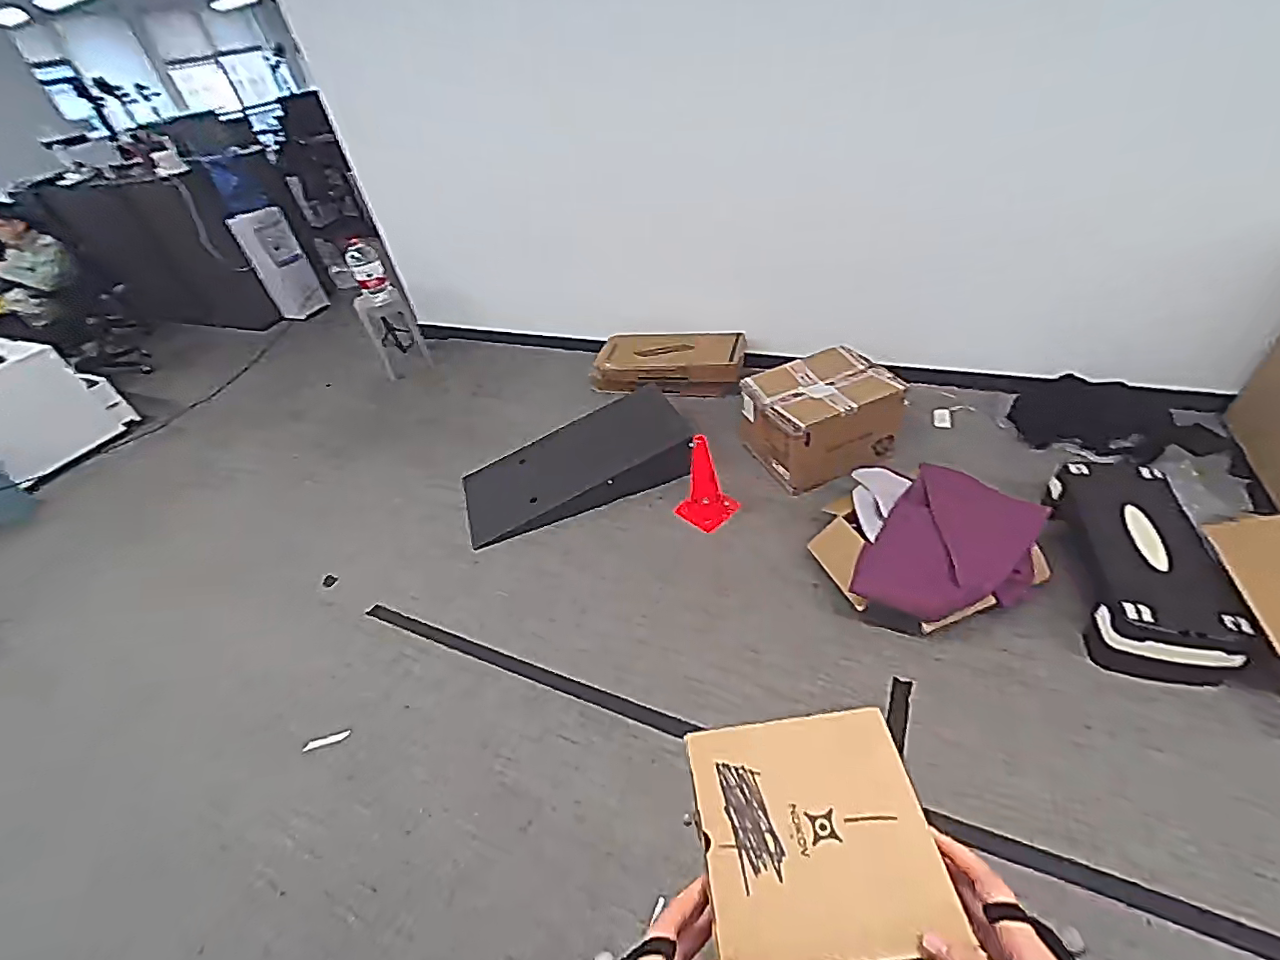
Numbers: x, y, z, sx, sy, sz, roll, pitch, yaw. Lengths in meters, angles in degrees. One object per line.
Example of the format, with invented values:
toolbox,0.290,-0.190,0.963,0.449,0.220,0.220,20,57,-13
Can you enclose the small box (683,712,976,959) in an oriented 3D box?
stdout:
small box,0.139,0.325,0.466,0.179,0.176,0.168,-8,44,0
